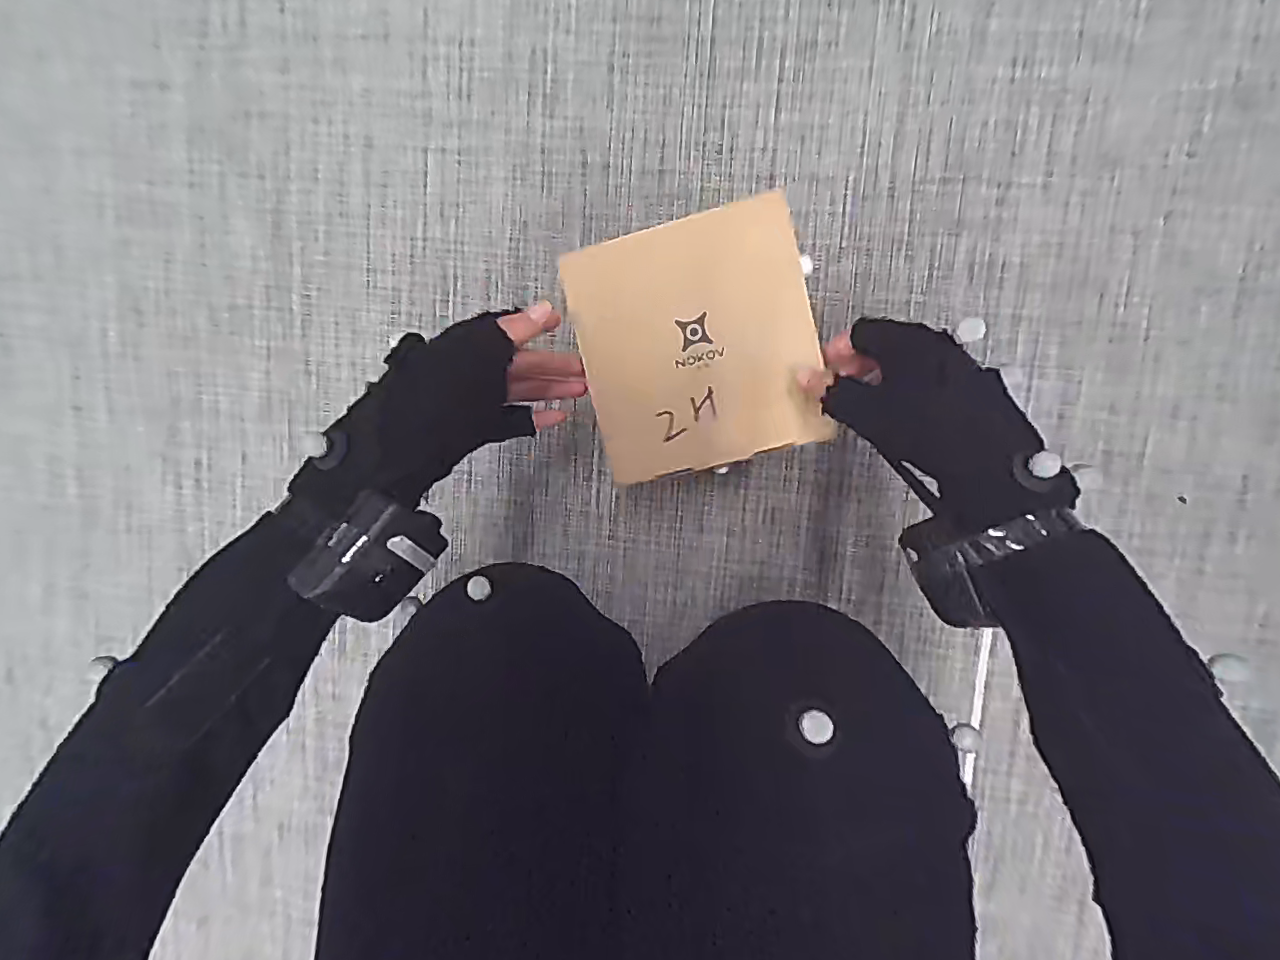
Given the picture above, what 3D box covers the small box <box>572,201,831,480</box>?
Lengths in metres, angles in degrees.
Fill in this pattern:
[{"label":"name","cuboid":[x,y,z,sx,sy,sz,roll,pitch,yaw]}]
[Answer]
[{"label":"small box","cuboid":[0.051,-0.101,0.462,0.168,0.176,0.179,-9,94,8]}]
